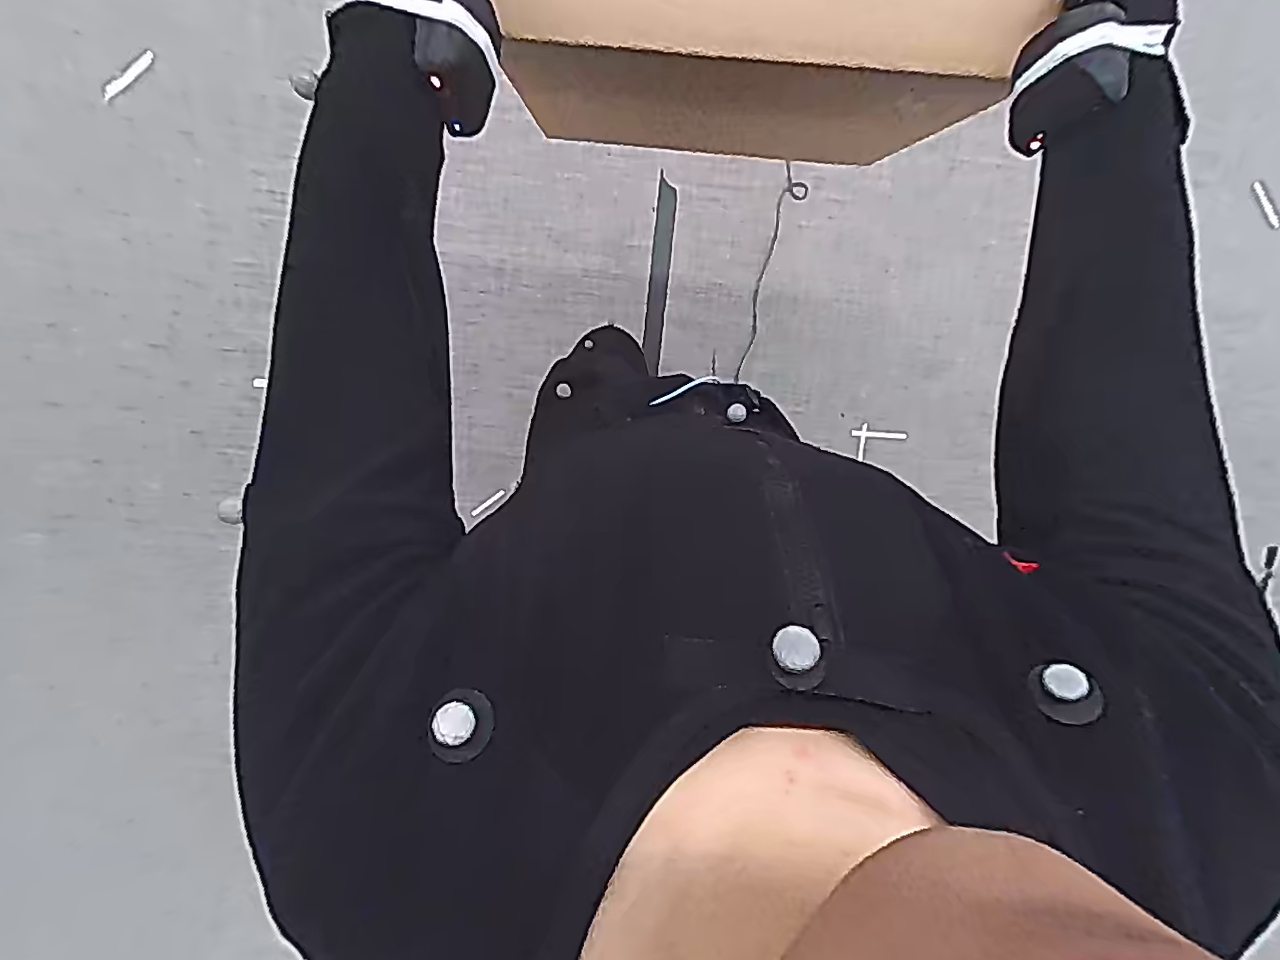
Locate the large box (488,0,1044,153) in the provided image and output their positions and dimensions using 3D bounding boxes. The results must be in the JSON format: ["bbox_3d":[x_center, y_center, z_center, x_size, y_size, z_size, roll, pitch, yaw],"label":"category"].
[{"bbox_3d":[0.091,-0.505,0.478,0.408,0.320,0.320,3,111,-2],"label":"large box"}]
